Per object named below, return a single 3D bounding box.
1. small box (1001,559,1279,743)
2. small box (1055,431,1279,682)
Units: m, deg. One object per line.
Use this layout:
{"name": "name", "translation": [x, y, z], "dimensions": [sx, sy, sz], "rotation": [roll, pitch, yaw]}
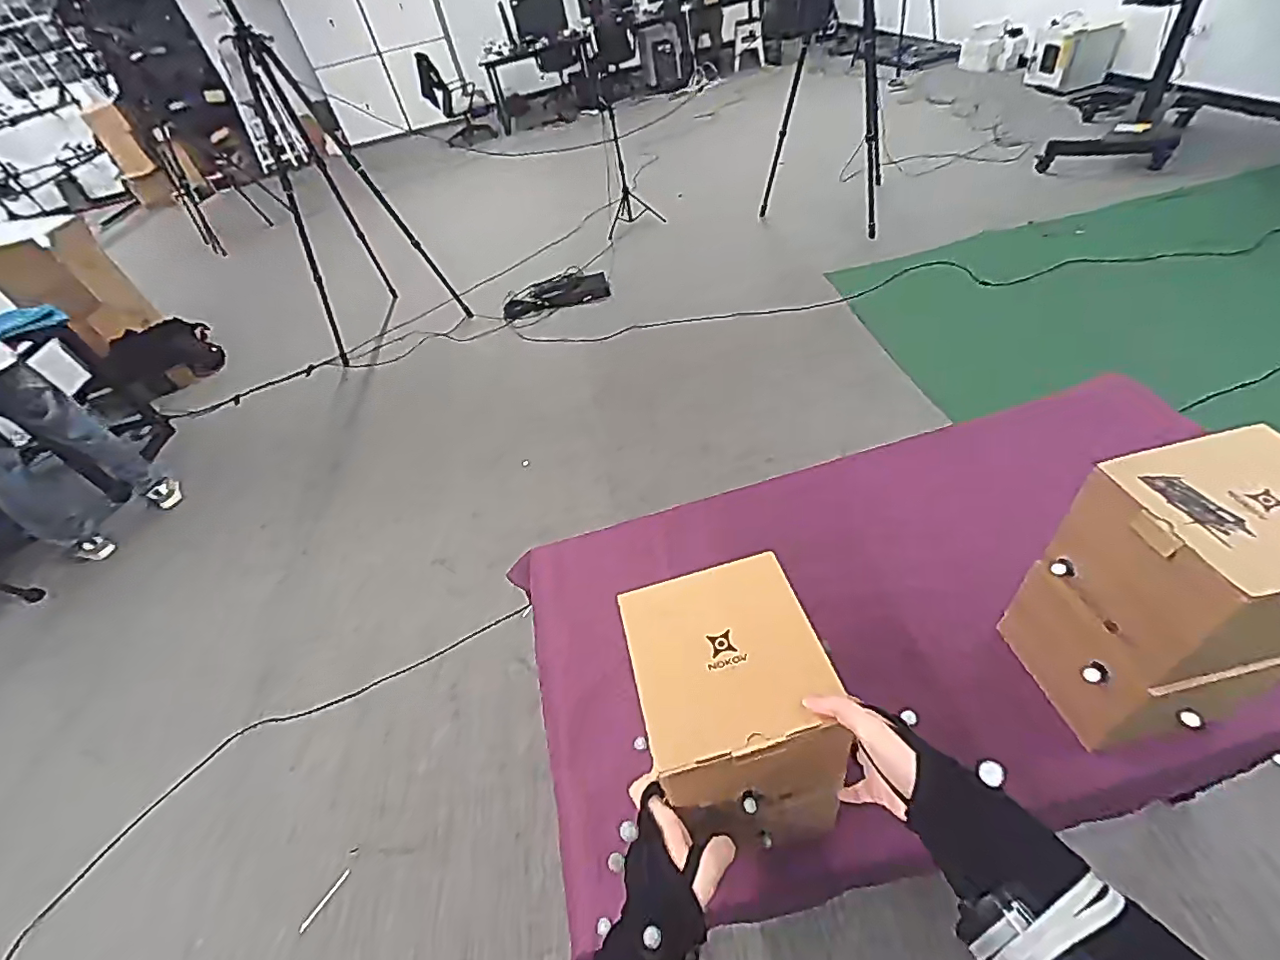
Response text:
{"name": "small box", "translation": [0.589, 0.199, 0.658], "dimensions": [0.168, 0.176, 0.179], "rotation": [-14, 44, 0]}
{"name": "small box", "translation": [0.567, 0.081, 0.544], "dimensions": [0.179, 0.176, 0.168], "rotation": [-13, 45, 0]}
